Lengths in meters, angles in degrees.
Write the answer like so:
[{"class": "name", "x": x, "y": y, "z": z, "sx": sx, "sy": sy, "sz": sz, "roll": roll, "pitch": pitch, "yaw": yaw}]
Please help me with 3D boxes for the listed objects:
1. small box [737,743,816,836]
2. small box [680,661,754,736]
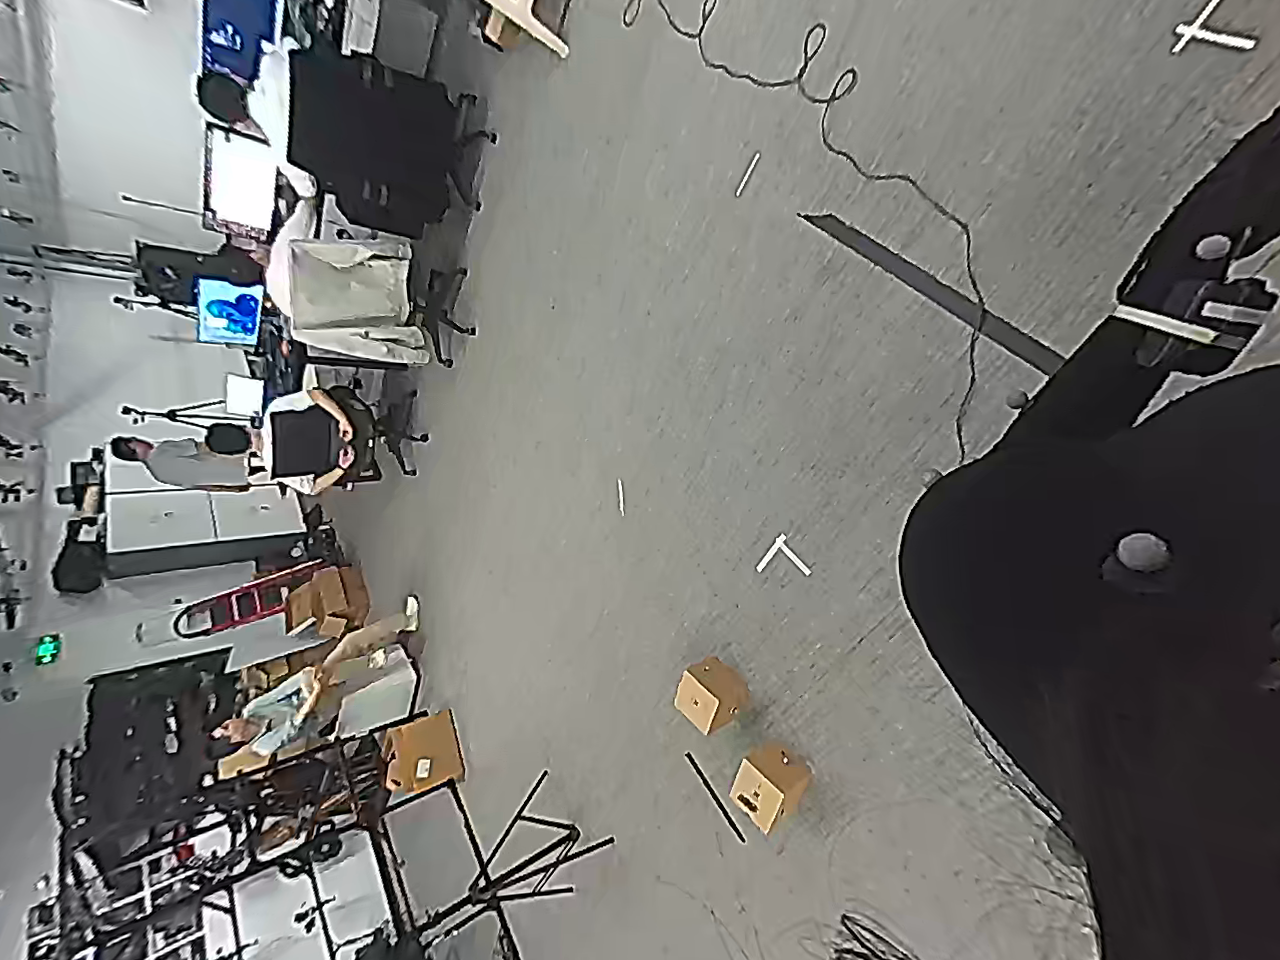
[{"class": "small box", "x": 0.454, "y": 1.015, "z": 1.788, "sx": 0.168, "sy": 0.176, "sz": 0.179, "roll": 31, "pitch": 115, "yaw": 42}, {"class": "small box", "x": 0.280, "y": 0.783, "z": 1.965, "sx": 0.179, "sy": 0.176, "sz": 0.168, "roll": 32, "pitch": 117, "yaw": 41}]
